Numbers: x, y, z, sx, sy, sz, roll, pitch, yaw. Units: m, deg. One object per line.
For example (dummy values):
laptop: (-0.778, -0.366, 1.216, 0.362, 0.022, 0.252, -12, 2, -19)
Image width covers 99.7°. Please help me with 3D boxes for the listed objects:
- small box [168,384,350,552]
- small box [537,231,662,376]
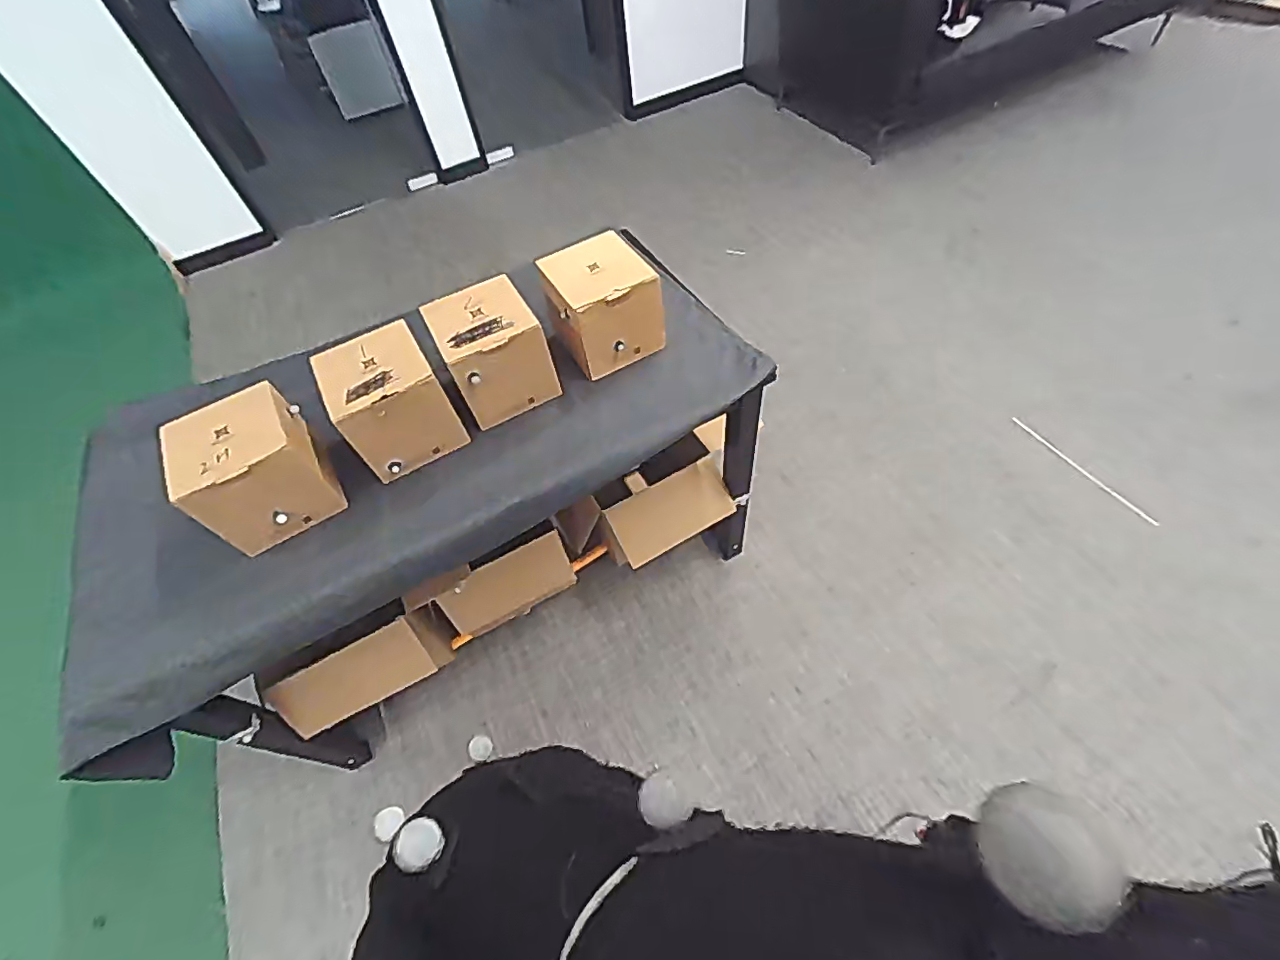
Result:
small box: (-0.610, -0.016, 0.877, 0.168, 0.176, 0.179, -31, 58, -13)
small box: (-0.073, -0.332, 1.028, 0.168, 0.176, 0.179, -29, 58, -12)
